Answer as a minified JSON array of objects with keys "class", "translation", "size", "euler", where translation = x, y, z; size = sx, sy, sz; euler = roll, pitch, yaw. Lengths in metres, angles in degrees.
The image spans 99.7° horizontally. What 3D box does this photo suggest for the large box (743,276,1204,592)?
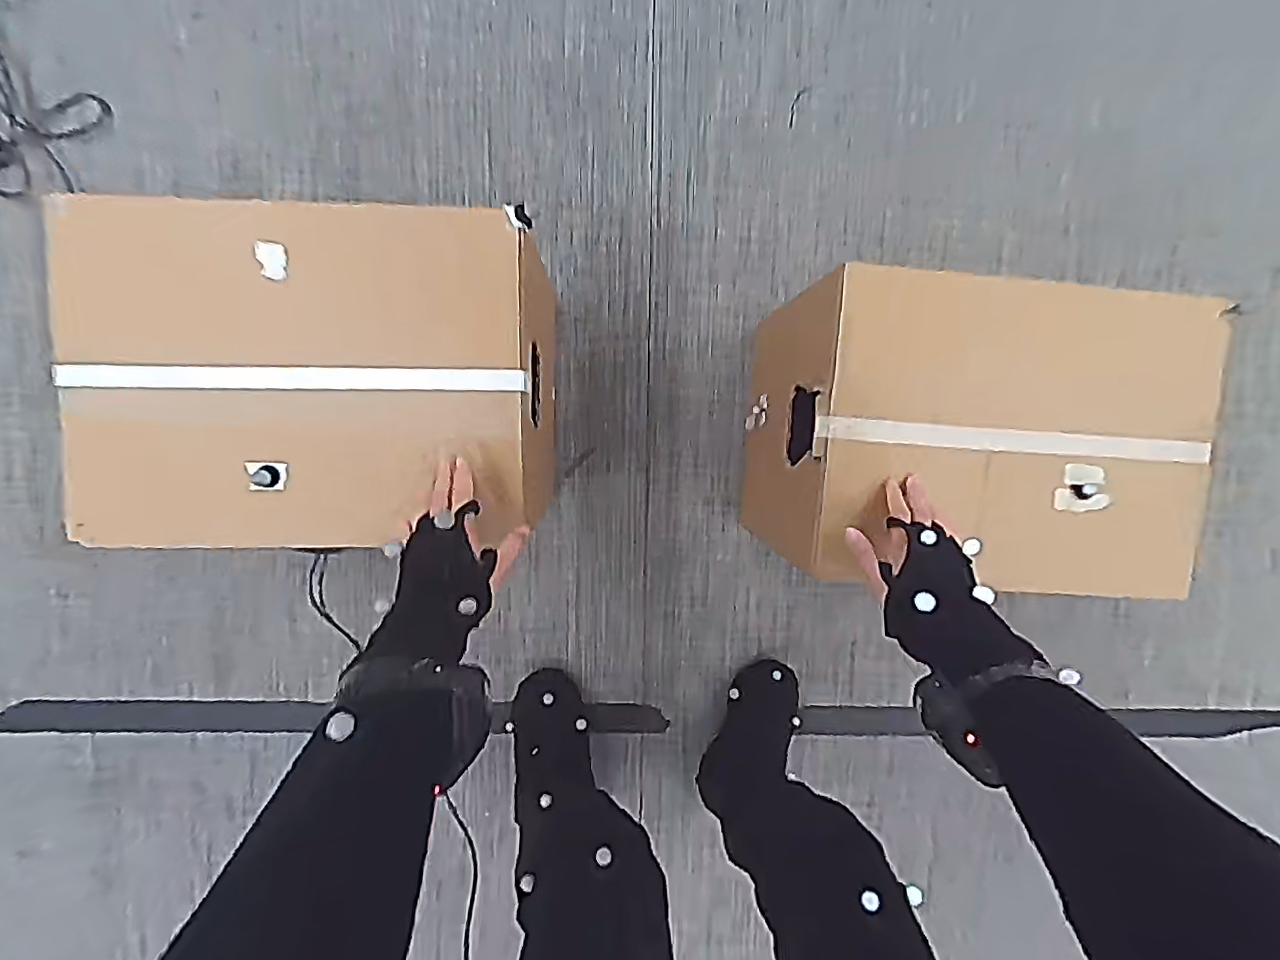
[{"class":"large box","translation":[0.374,-0.051,0.710],"size":[0.408,0.320,0.320],"euler":[4,95,-4]}]
